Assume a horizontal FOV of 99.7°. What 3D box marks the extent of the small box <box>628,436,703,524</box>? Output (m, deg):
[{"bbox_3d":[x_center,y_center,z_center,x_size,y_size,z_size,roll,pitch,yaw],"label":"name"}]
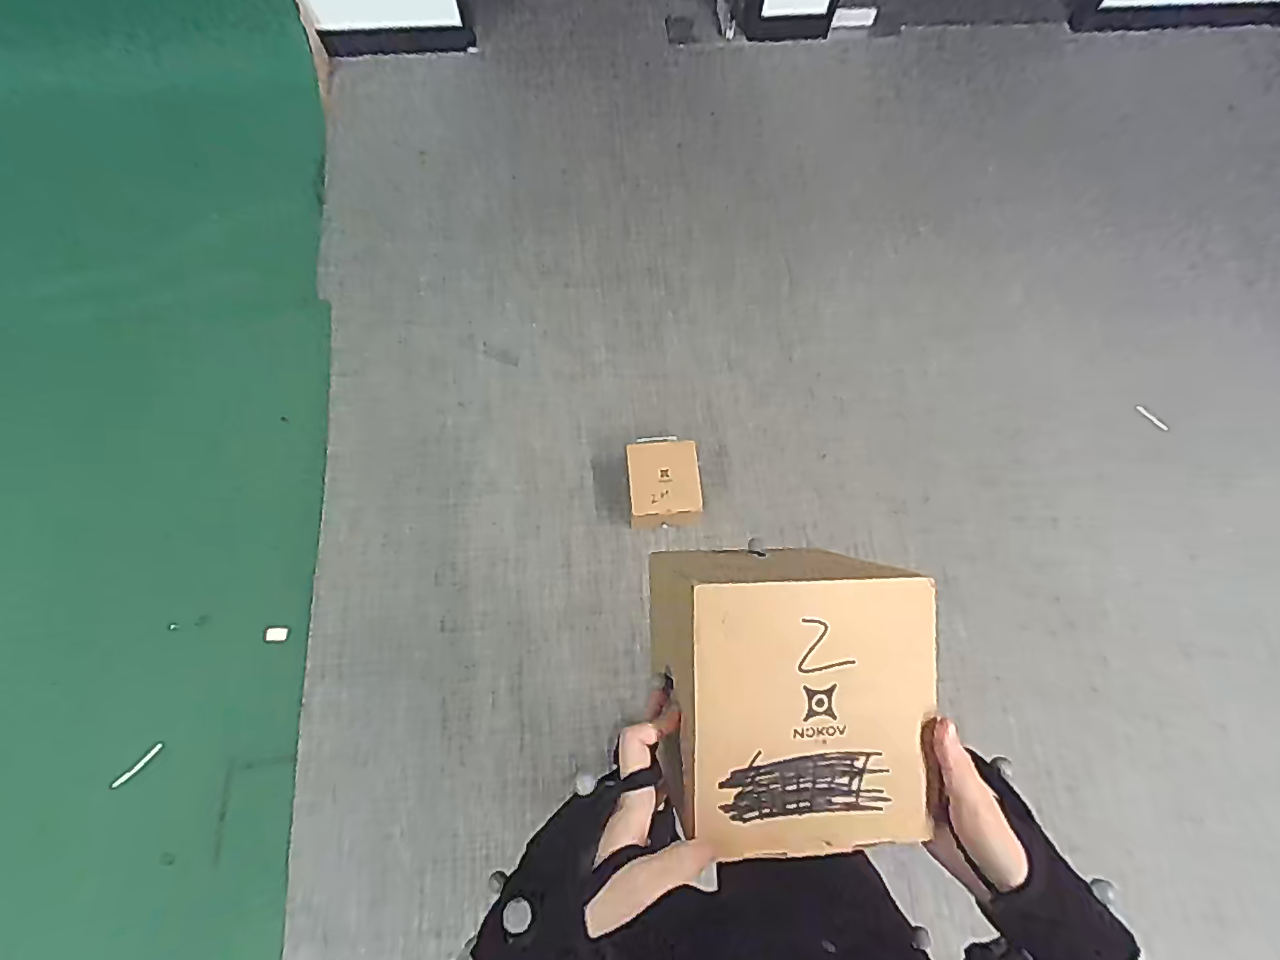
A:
[{"bbox_3d":[0.056,0.005,1.330,0.168,0.176,0.179,-4,76,-3],"label":"small box"}]
